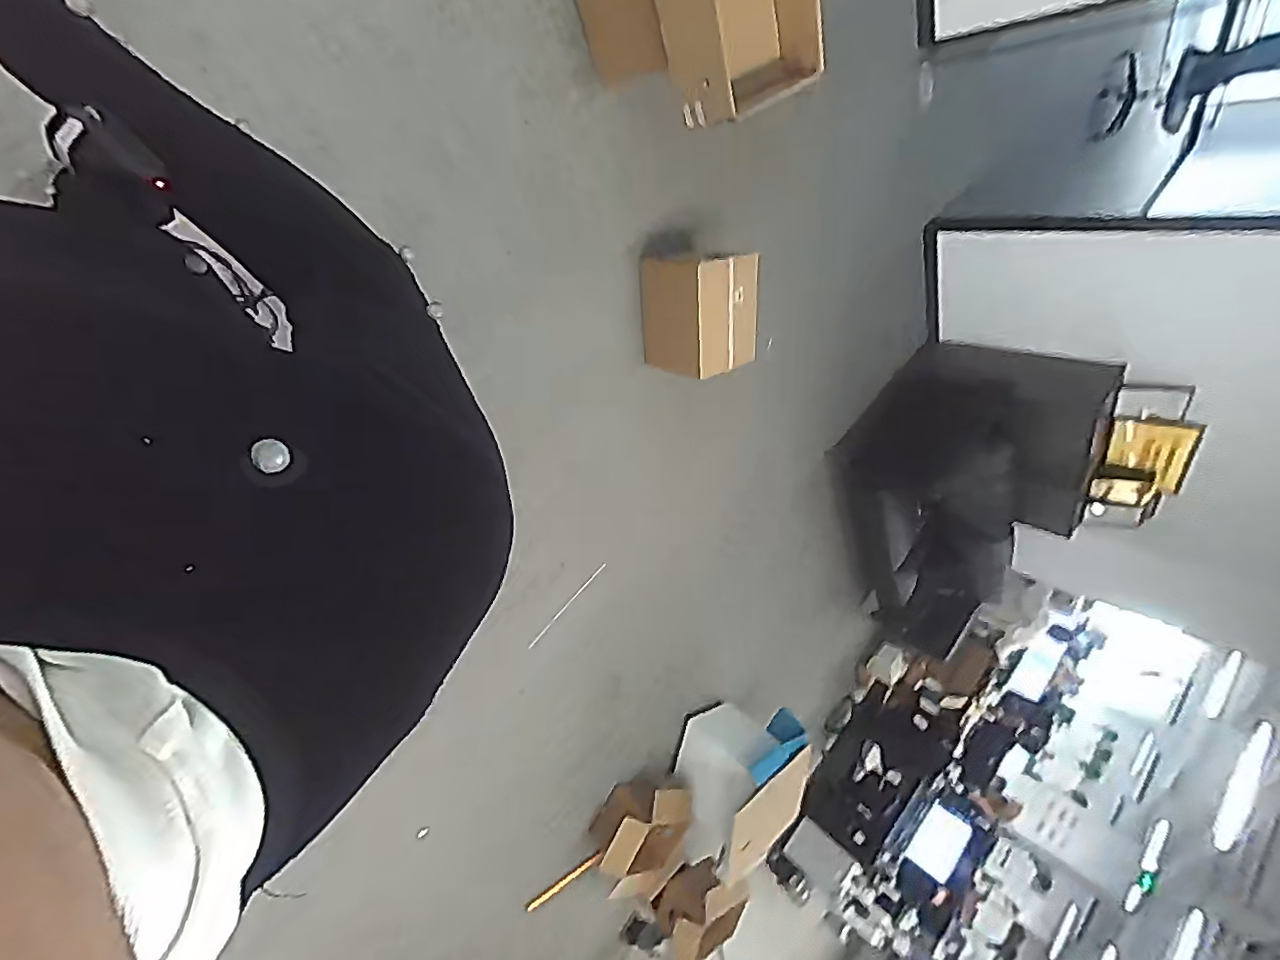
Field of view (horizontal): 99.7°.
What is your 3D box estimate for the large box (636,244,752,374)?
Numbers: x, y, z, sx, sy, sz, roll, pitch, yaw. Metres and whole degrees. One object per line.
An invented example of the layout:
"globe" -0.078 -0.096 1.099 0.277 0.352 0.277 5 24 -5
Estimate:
"large box" 0.209 -0.658 2.055 0.320 0.320 0.408 -26 125 -33
